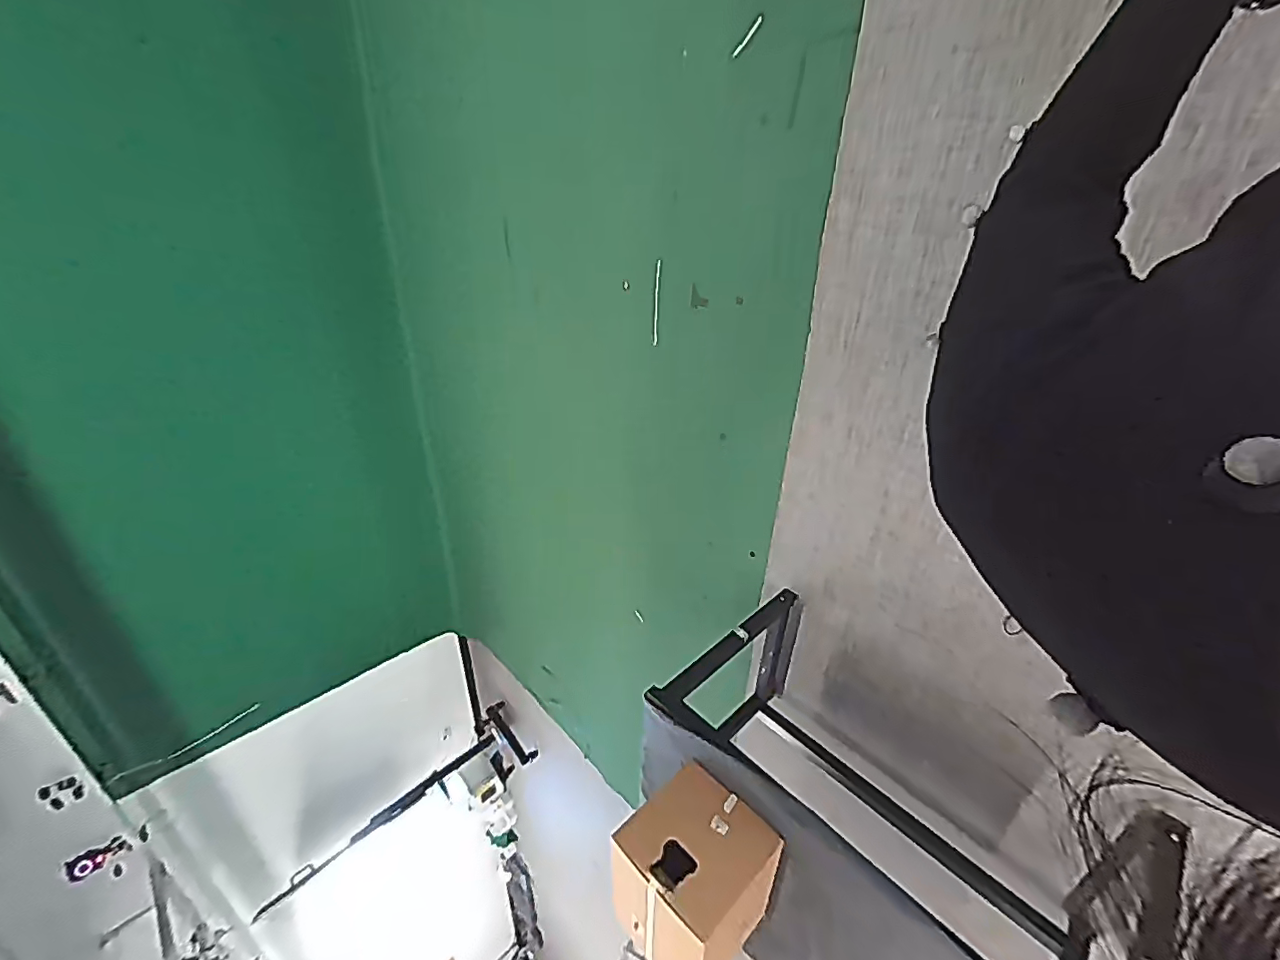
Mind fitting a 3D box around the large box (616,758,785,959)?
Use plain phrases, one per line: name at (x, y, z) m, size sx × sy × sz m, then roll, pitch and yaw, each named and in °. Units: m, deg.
large box at (0.155, 1.048, 1.430) m, size 0.320 × 0.320 × 0.408 m, roll 27°, pitch 129°, yaw 39°
